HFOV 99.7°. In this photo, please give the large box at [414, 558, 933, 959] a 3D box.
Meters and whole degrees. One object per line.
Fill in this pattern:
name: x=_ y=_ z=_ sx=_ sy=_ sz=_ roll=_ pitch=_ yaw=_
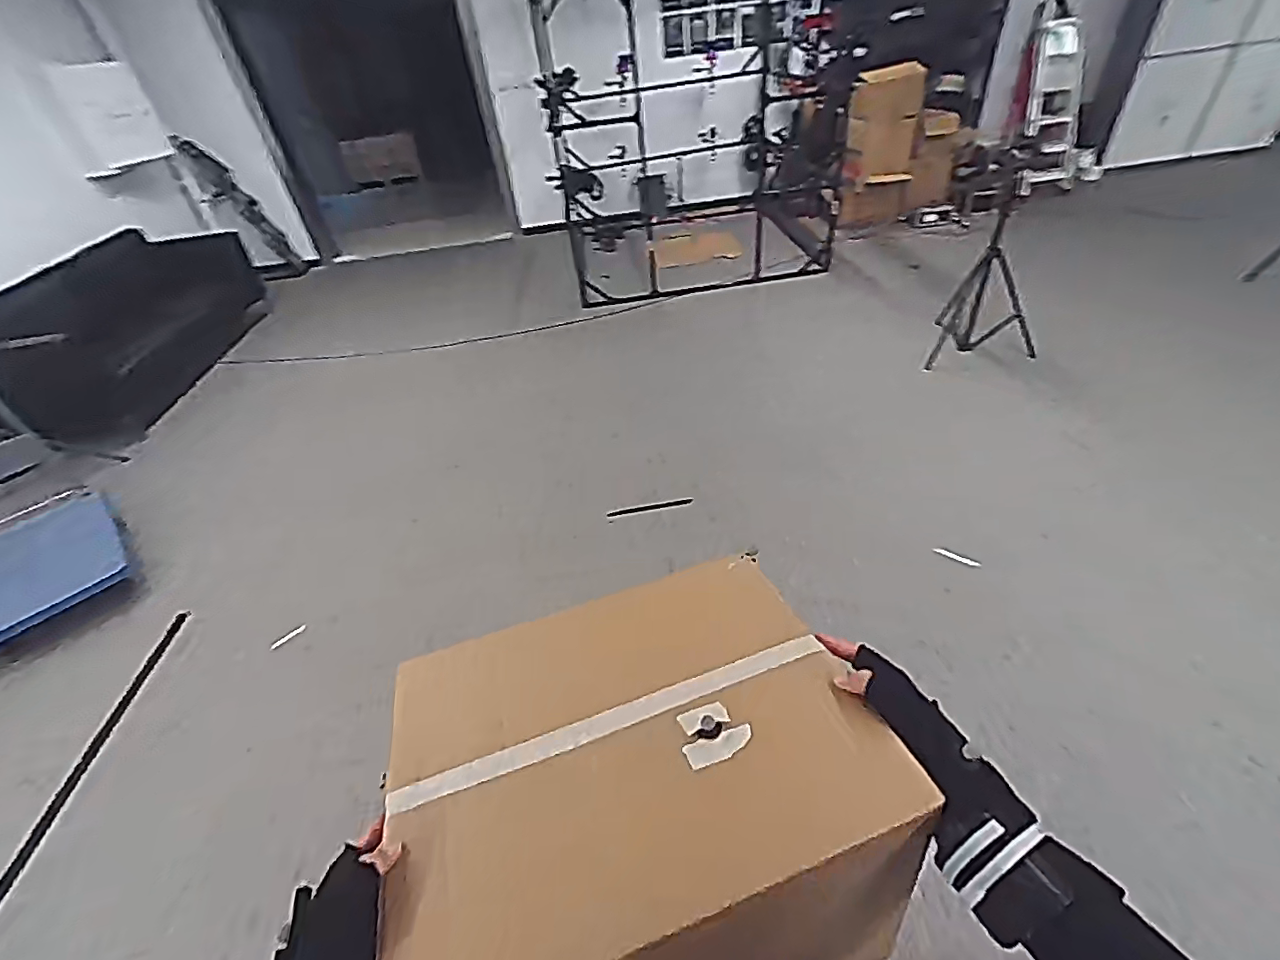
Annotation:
large box: x=0.015 y=0.345 z=0.578 sx=0.408 sy=0.320 sz=0.320 roll=-15 pitch=33 yaw=-11
